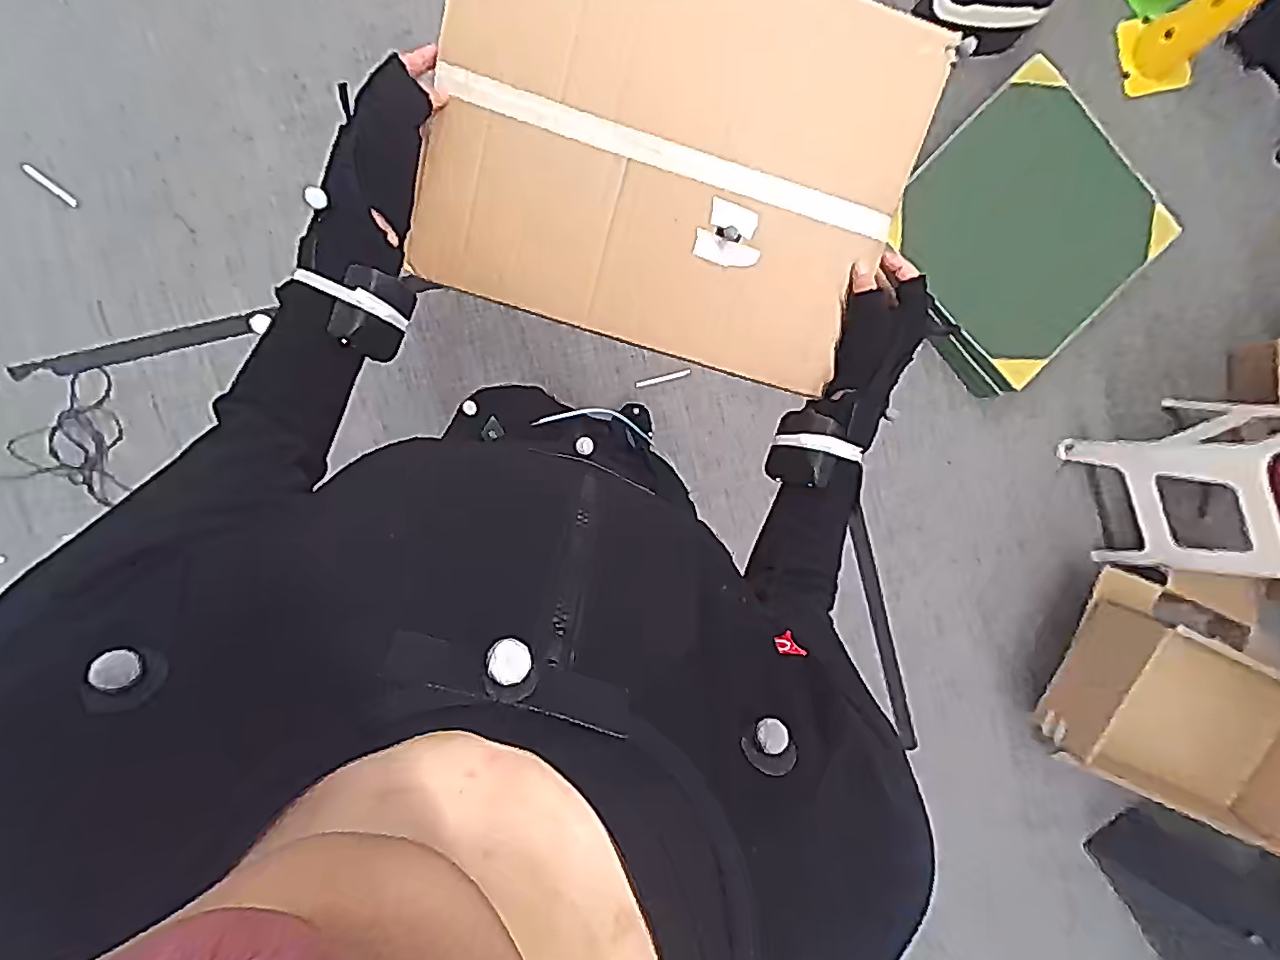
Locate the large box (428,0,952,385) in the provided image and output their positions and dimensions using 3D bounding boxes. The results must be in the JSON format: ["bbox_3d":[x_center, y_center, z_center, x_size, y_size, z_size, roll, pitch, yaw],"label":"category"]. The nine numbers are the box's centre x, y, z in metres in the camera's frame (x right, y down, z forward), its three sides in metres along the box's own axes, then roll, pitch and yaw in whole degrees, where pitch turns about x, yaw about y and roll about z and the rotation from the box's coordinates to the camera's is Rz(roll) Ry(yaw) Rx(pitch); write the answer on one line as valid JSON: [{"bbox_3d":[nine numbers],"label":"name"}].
[{"bbox_3d":[0.028,-0.321,0.617,0.408,0.320,0.320,15,105,-7],"label":"large box"}]
